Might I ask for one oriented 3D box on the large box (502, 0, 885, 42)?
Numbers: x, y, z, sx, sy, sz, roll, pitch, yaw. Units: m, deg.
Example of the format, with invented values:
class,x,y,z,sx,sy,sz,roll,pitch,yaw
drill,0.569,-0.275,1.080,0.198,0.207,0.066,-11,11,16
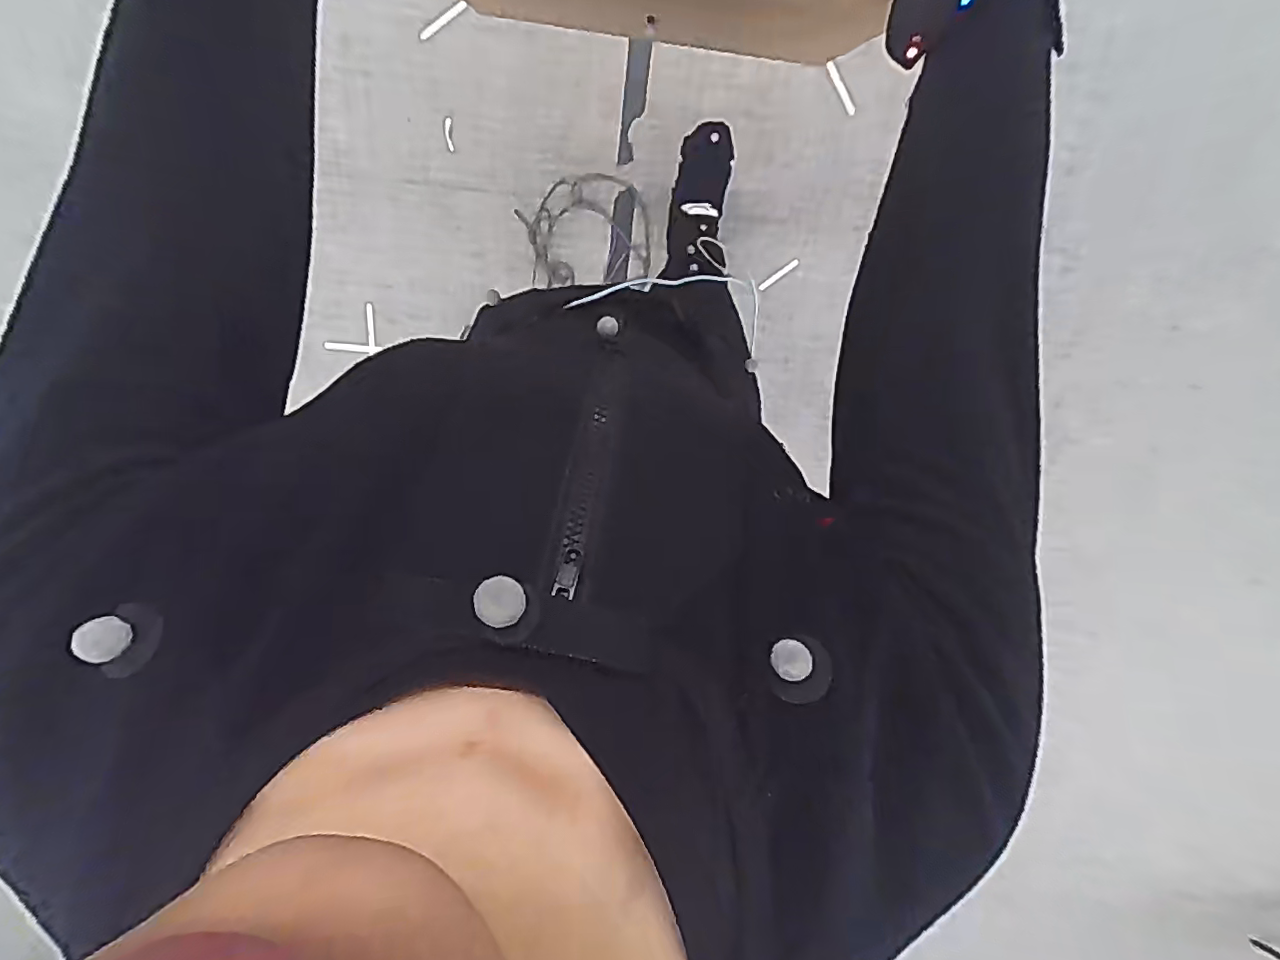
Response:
class,x,y,z,sx,sy,sz,roll,pitch,yaw
large box,0.032,-0.577,0.419,0.408,0.320,0.320,7,120,-2
